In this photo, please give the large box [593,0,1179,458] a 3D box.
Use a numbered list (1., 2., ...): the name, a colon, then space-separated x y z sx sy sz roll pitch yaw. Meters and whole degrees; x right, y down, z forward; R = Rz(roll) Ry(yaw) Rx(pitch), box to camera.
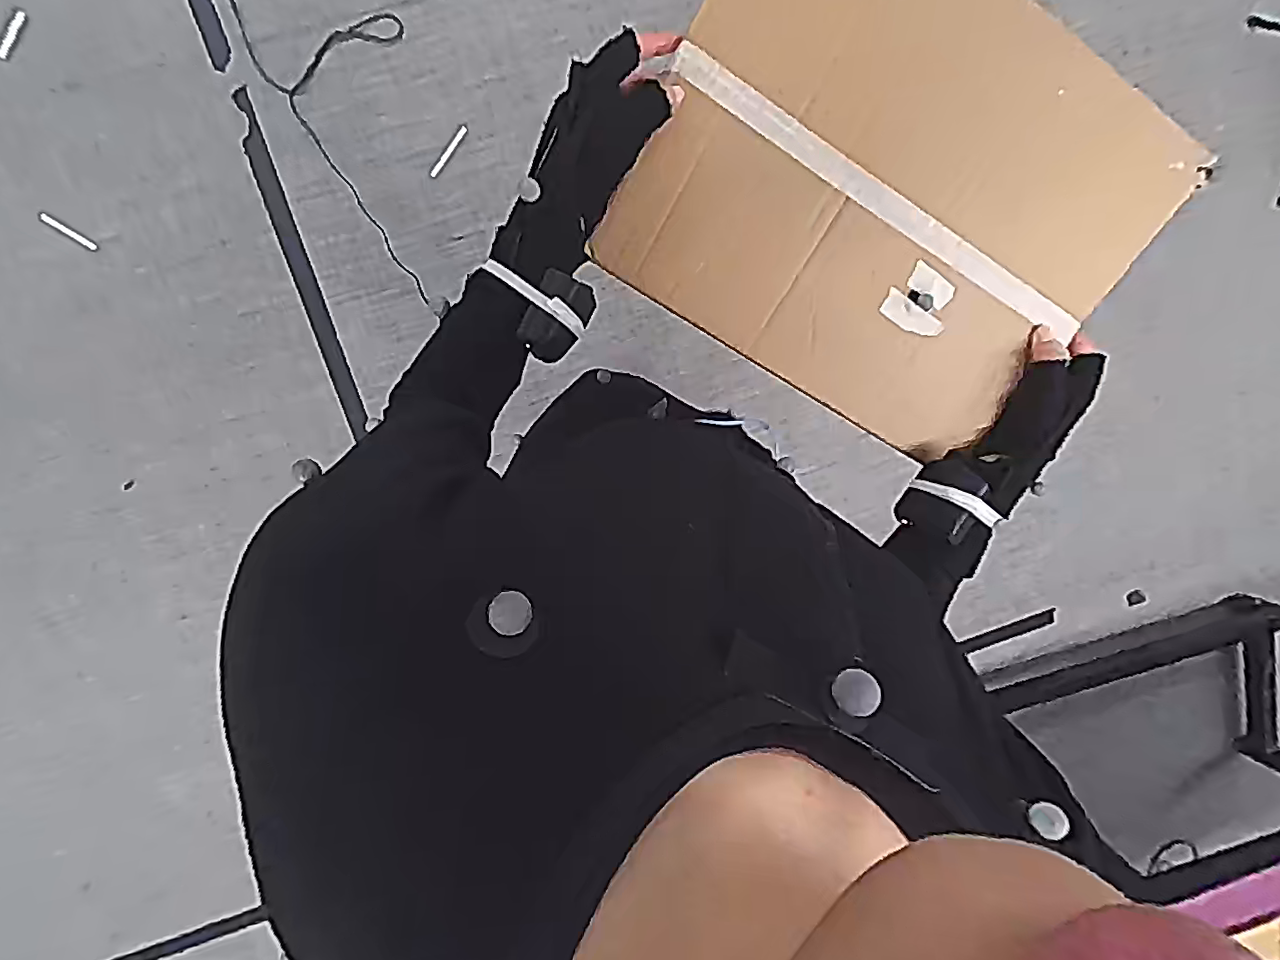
1. large box: 0.198 -0.286 0.593 0.408 0.320 0.320 28 110 -12
